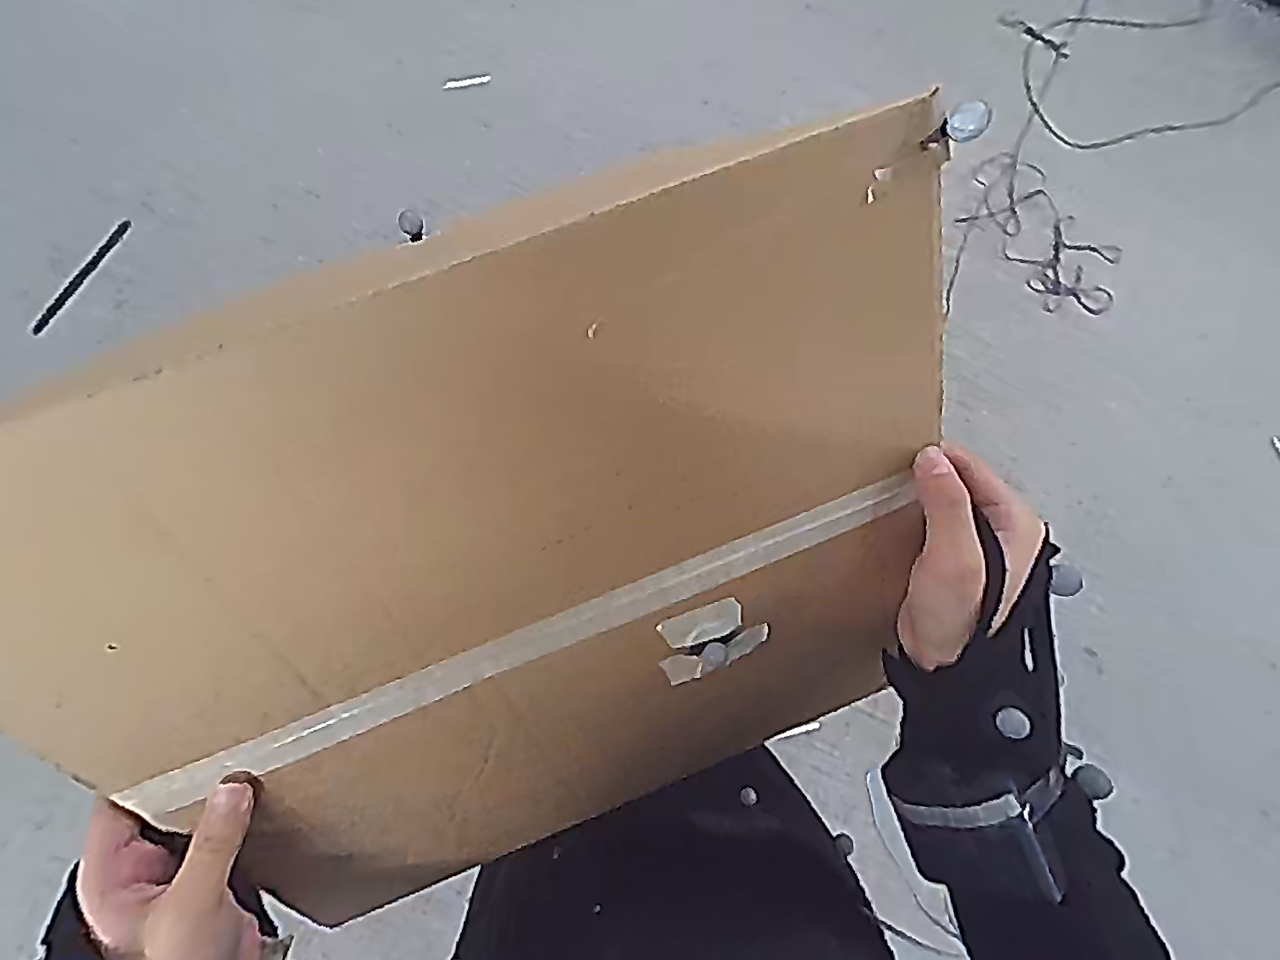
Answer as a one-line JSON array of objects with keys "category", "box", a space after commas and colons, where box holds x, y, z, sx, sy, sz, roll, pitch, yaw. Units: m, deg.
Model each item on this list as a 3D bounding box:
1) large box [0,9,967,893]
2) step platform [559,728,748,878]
[{"category": "large box", "box": [-0.069, -0.027, 0.373, 0.408, 0.320, 0.320, -22, 122, -4]}, {"category": "step platform", "box": [-0.104, 0.569, 1.228, 0.684, 0.204, 0.286, 31, 74, 4]}]
